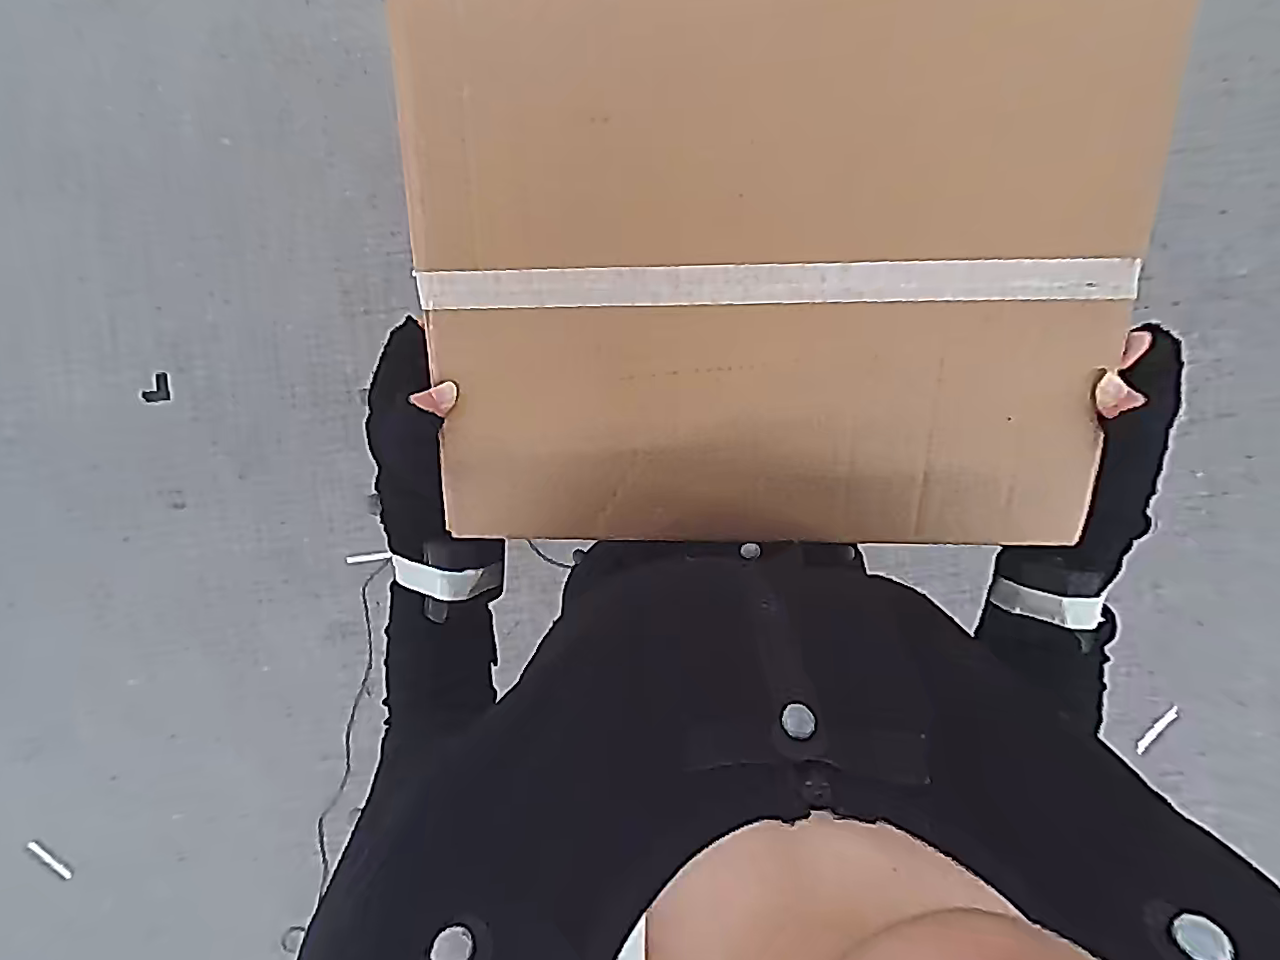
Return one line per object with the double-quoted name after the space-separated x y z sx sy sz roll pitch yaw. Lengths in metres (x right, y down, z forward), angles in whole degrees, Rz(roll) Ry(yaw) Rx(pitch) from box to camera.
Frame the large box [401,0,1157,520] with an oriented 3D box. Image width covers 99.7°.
0.075 -0.162 0.464 0.408 0.320 0.320 0 106 3 "large box"
